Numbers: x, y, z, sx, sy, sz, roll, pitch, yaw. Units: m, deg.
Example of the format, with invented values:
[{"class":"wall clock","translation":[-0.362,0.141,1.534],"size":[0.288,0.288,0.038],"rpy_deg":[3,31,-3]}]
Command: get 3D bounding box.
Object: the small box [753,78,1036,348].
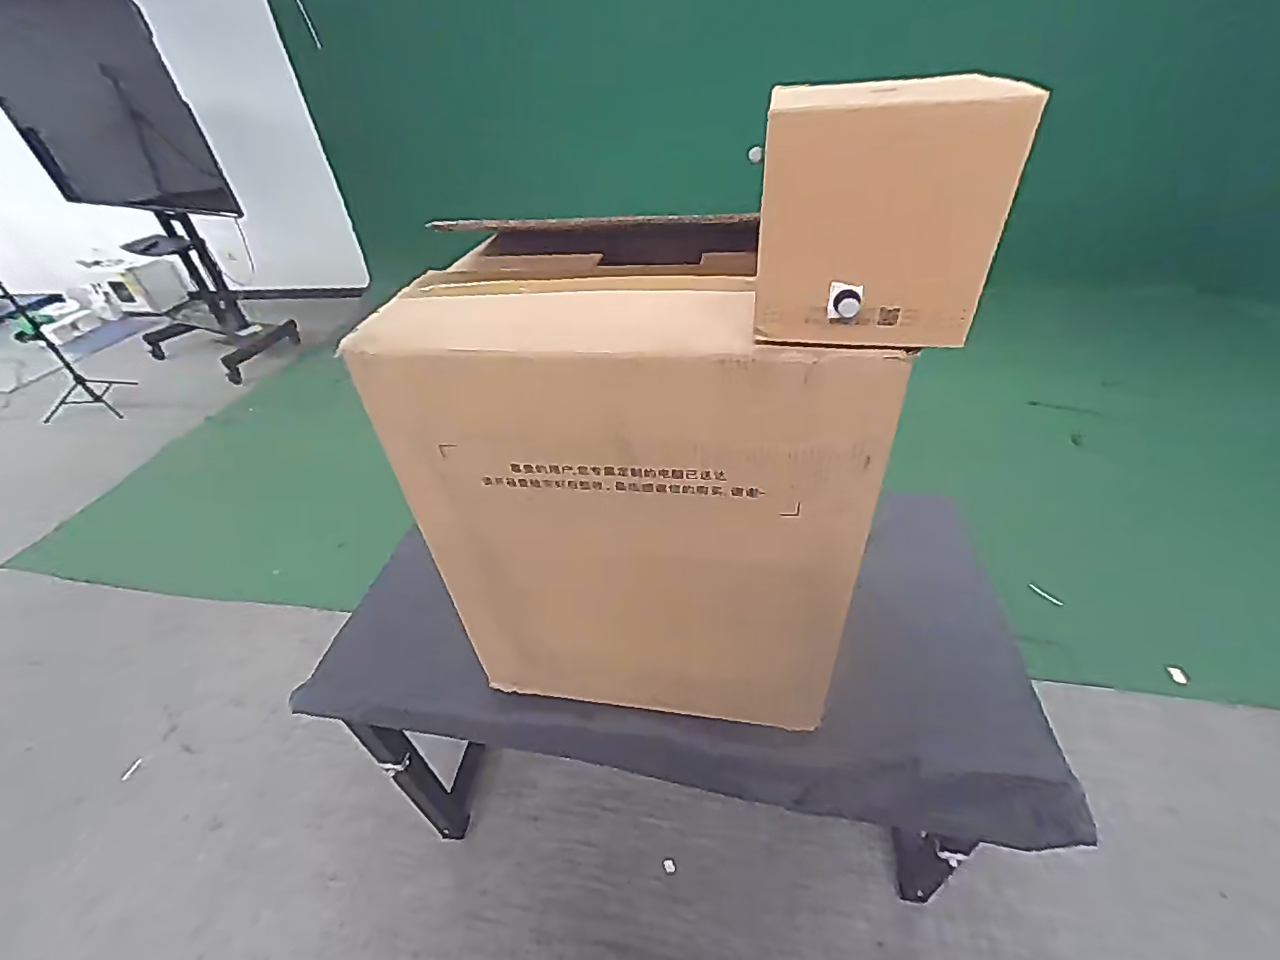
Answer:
[{"class":"small box","translation":[0.185,-0.228,0.460],"size":[0.168,0.176,0.179],"rpy_deg":[3,41,10]}]
